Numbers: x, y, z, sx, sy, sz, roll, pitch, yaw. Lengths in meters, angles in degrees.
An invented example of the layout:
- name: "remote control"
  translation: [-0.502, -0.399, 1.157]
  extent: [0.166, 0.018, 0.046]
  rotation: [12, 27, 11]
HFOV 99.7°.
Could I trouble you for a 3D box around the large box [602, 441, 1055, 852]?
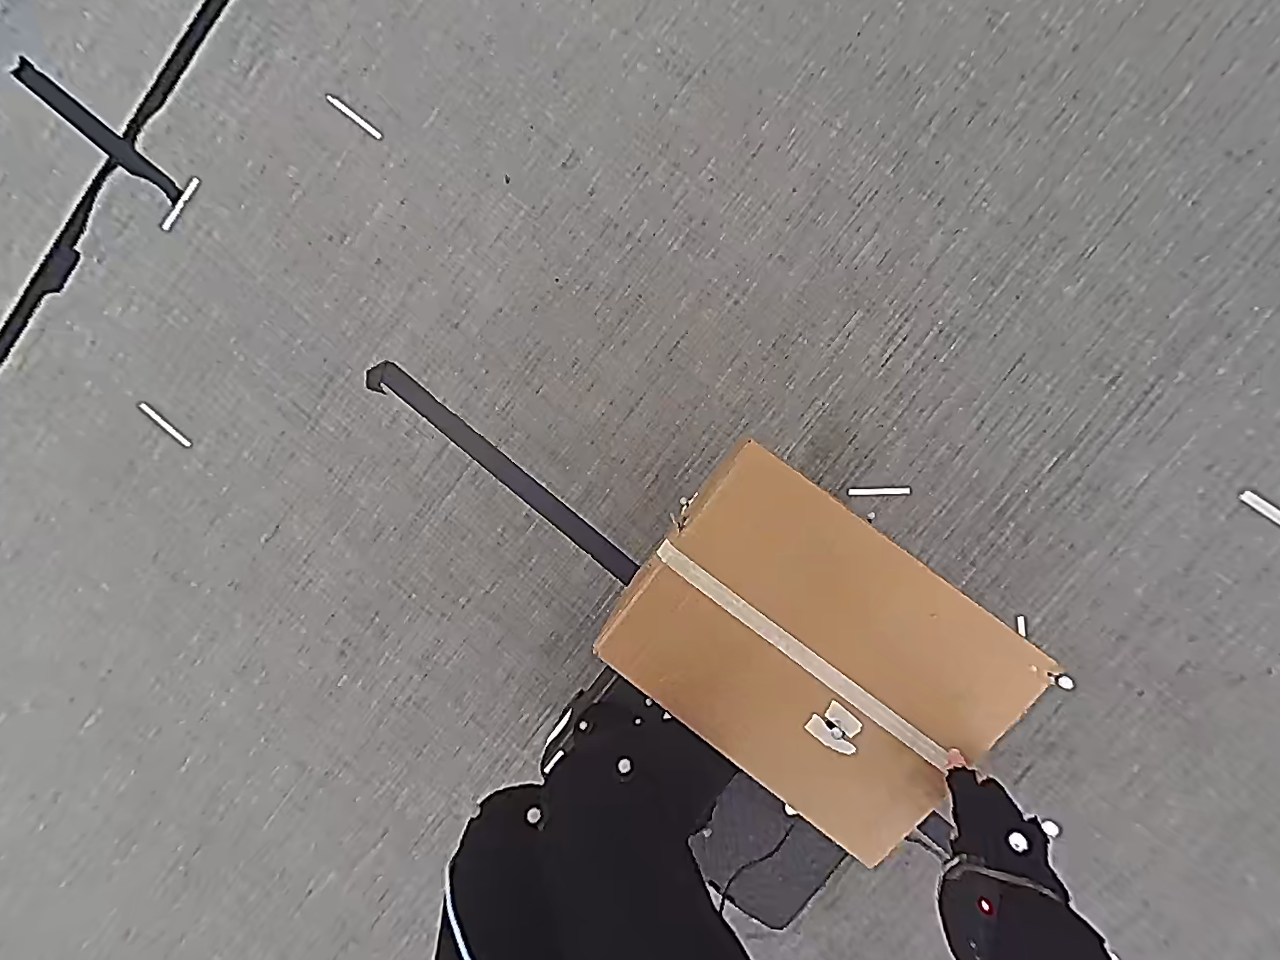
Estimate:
- name: "large box"
  translation: [0.218, 0.181, 0.757]
  extent: [0.408, 0.320, 0.320]
  rotation: [36, 101, 3]
